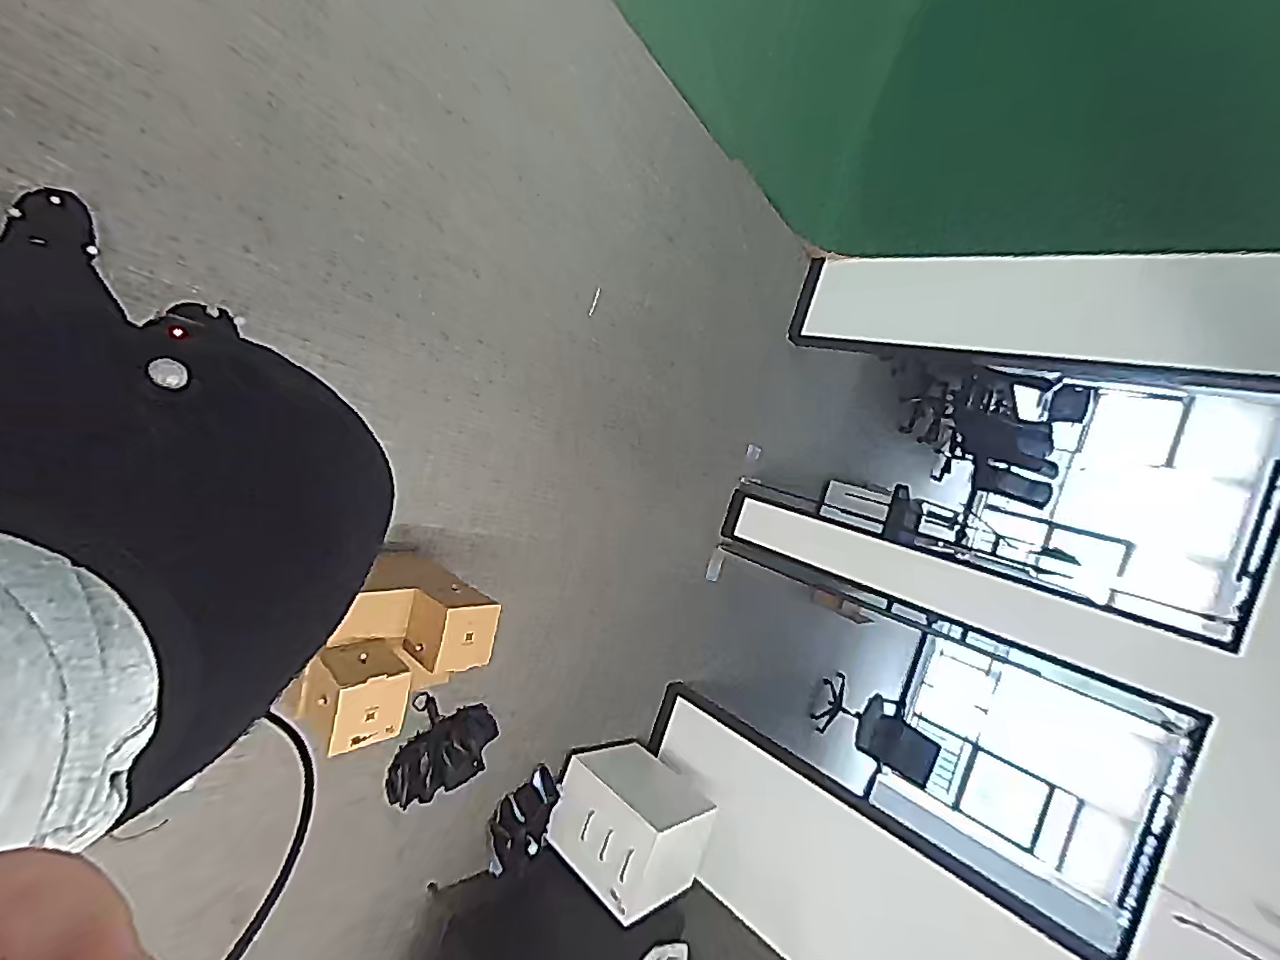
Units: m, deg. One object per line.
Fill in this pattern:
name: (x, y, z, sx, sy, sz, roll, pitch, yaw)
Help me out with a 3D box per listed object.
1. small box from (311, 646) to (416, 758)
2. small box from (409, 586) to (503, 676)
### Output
small box: (-0.669, 0.519, 1.302, 0.168, 0.176, 0.179, 3, 103, -49)
small box: (-0.498, 0.399, 1.455, 0.168, 0.176, 0.179, 8, 94, -51)
